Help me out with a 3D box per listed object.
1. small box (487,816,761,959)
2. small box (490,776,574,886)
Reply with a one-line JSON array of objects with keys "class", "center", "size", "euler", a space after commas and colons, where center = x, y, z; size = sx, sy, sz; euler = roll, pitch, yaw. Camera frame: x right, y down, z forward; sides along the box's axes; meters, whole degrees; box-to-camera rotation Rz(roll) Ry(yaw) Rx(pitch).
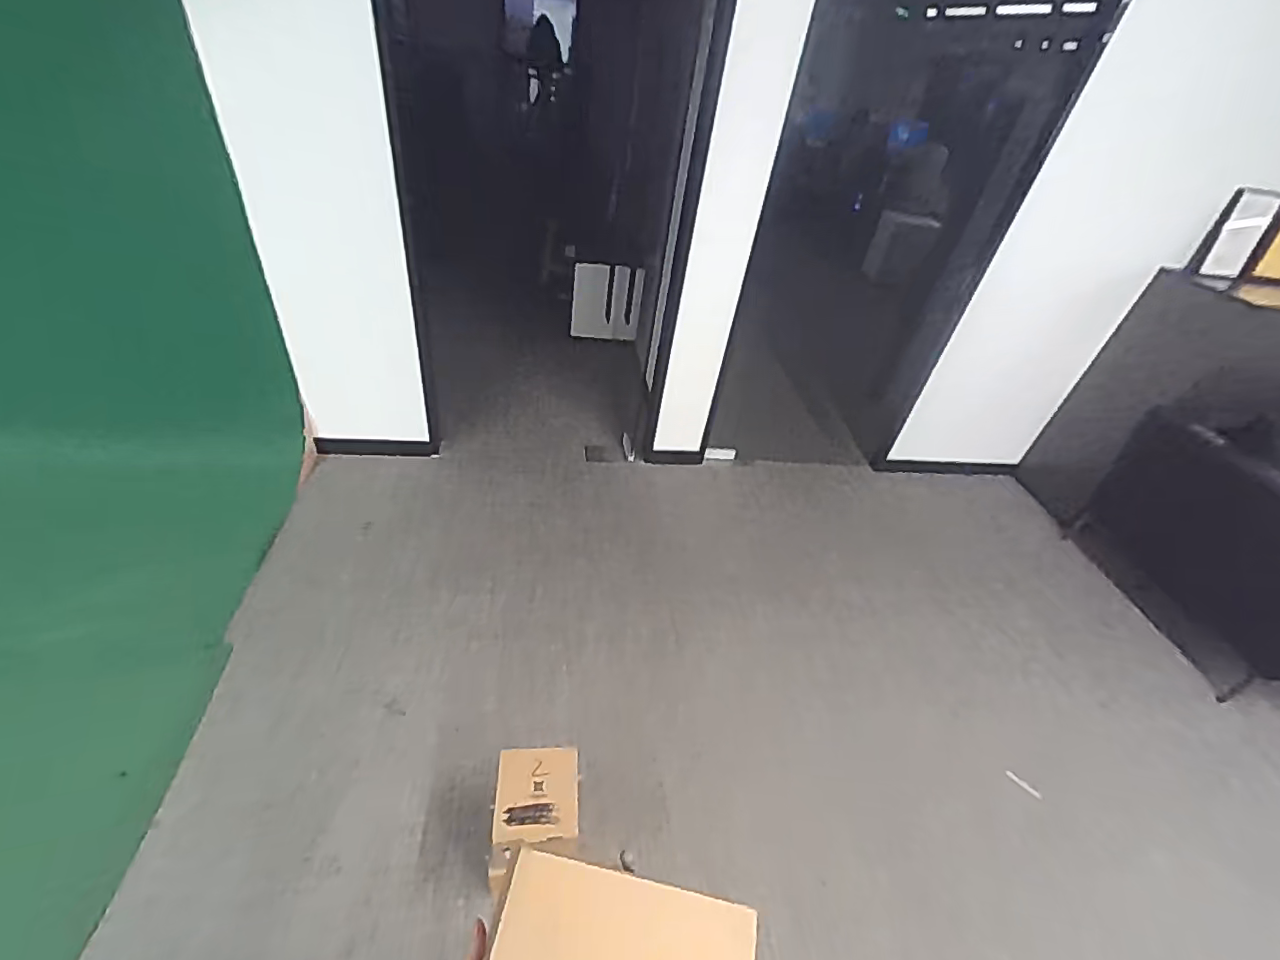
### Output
[{"class": "small box", "center": [-0.028, 0.366, 0.388], "size": [0.168, 0.176, 0.179], "euler": [18, 54, -2]}, {"class": "small box", "center": [-0.249, 0.817, 1.255], "size": [0.168, 0.176, 0.179], "euler": [6, 40, -6]}]
